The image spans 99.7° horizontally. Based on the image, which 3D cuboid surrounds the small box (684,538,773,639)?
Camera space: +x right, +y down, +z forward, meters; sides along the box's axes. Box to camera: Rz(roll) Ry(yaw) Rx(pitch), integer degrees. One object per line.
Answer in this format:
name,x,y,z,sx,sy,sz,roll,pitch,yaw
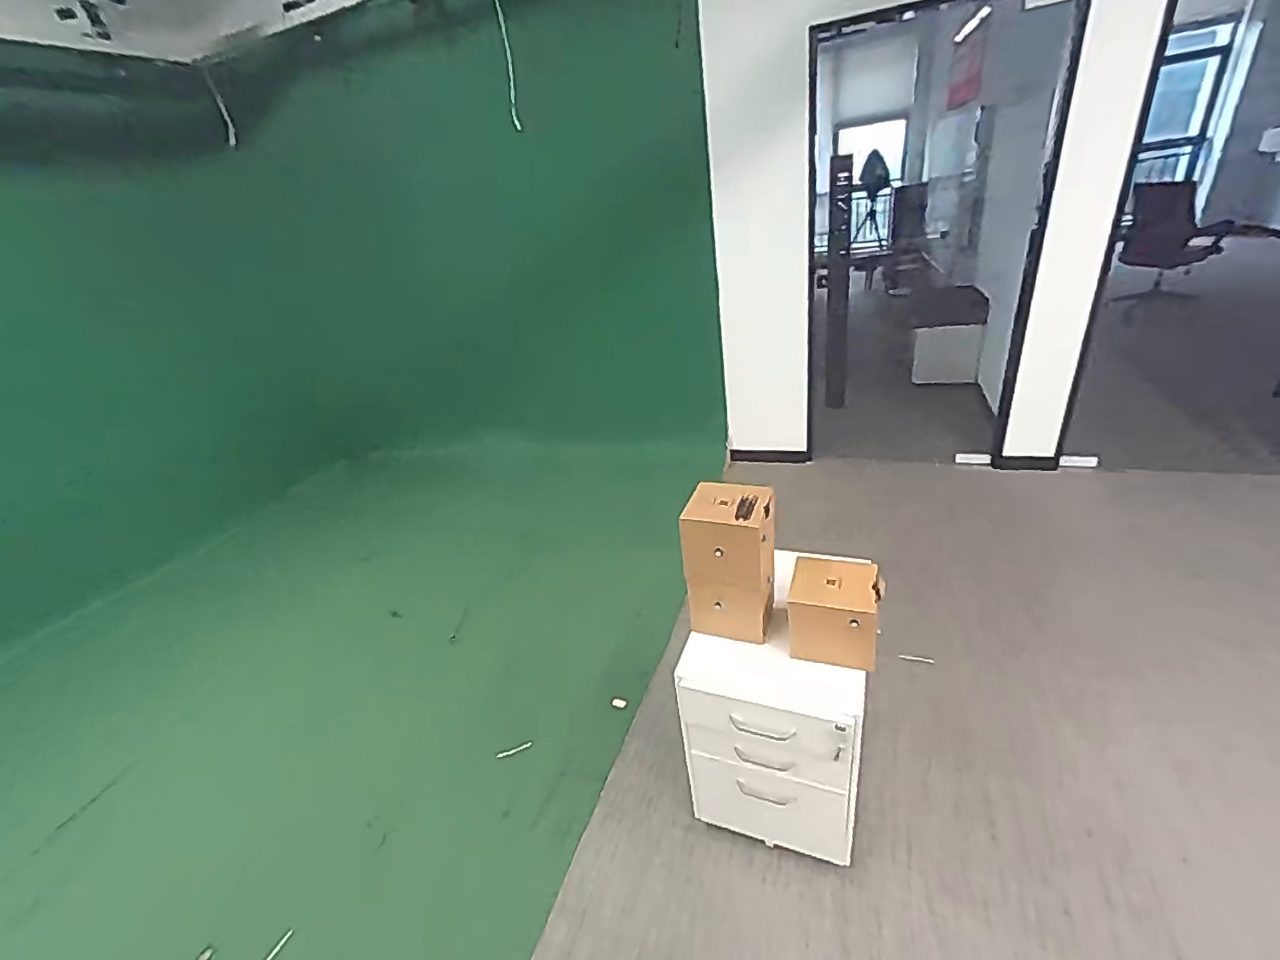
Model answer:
small box,0.220,0.261,1.308,0.179,0.176,0.168,4,31,22
